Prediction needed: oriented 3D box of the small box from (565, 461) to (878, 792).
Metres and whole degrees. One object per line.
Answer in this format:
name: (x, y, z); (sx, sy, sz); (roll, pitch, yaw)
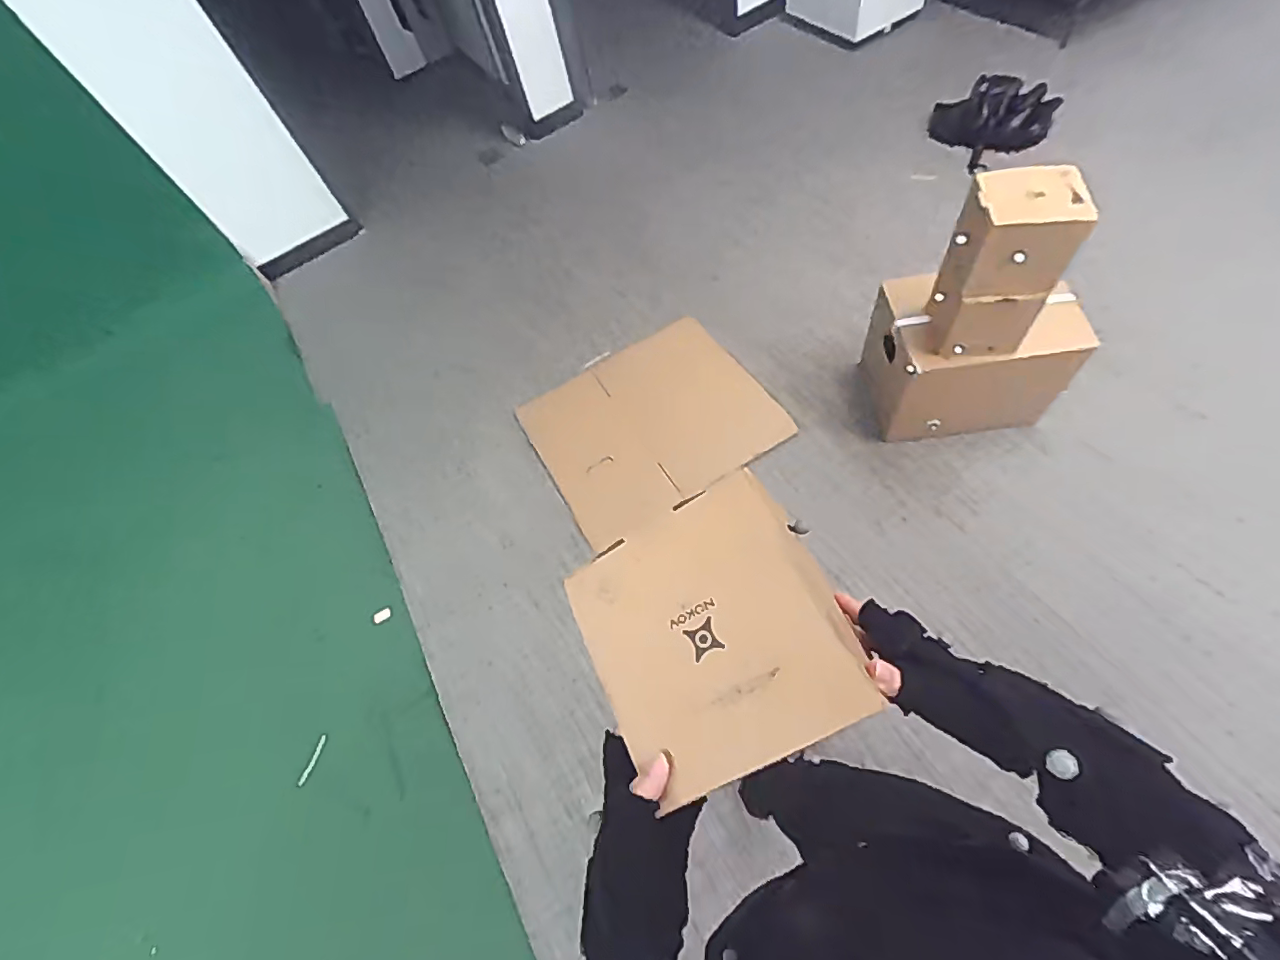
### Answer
small box: (0.072, 0.116, 0.444); (0.168, 0.176, 0.179); (-33, 65, 14)

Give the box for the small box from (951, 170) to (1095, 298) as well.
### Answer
small box: (0.750, -0.486, 1.088); (0.179, 0.176, 0.168); (-2, 59, 10)

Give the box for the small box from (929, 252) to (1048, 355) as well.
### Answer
small box: (0.772, -0.397, 1.220); (0.168, 0.176, 0.179); (-1, 60, 11)
